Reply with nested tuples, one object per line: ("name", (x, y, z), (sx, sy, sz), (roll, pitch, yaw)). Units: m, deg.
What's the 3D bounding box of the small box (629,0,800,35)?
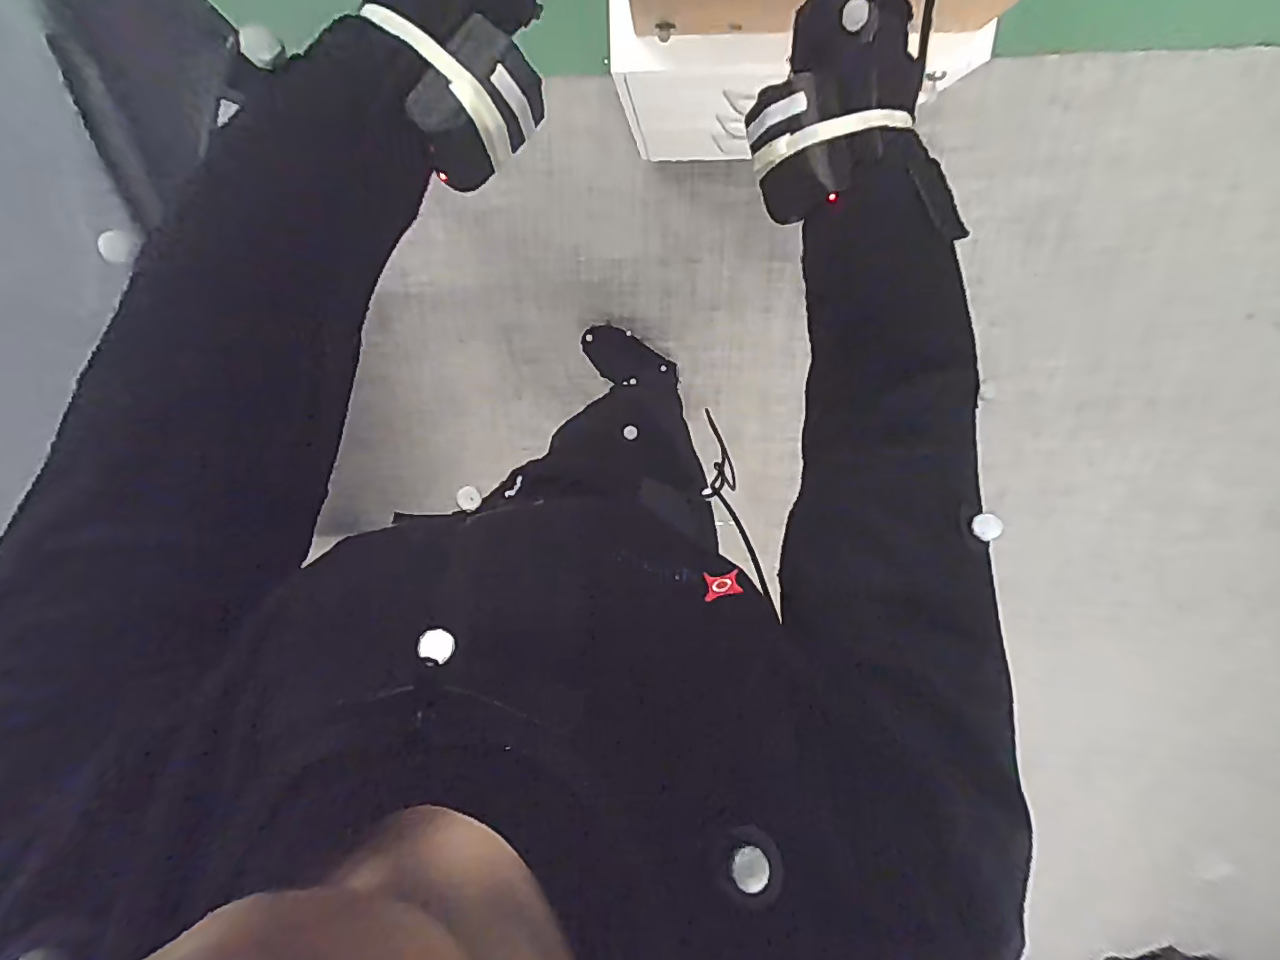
("small box", (0.070, -0.511, 0.458), (0.168, 0.176, 0.179), (1, 111, 2))
